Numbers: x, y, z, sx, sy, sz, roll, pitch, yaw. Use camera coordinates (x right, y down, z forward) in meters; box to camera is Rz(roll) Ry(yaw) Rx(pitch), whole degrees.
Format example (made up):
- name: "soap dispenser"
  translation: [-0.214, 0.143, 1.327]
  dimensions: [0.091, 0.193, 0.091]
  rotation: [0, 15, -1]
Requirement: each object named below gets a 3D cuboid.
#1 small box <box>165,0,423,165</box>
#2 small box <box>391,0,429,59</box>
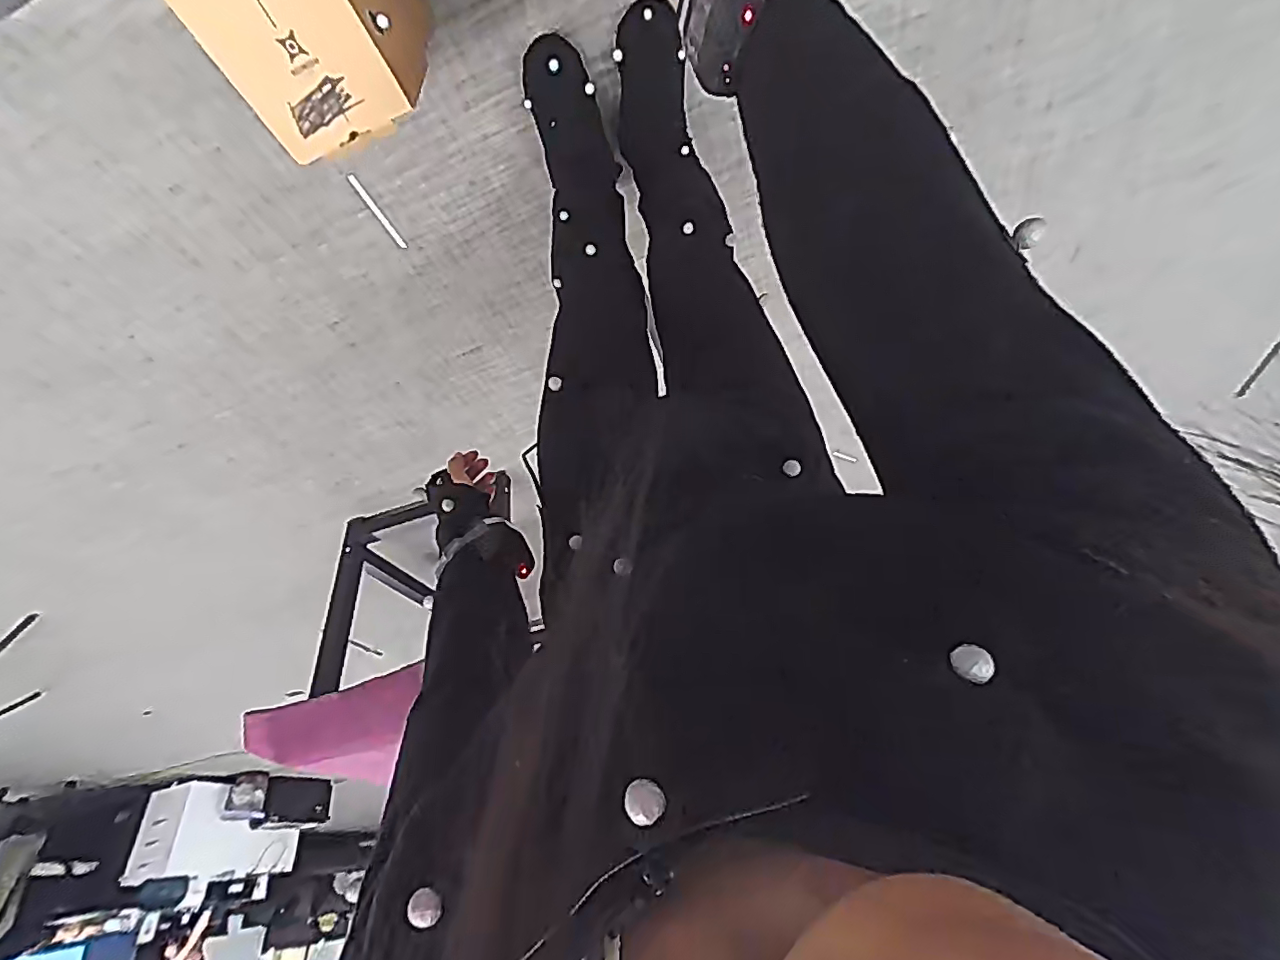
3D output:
- name: "small box"
  translation: [-0.375, -0.514, 0.626]
  dimensions: [0.168, 0.176, 0.179]
  rotation: [-18, 142, 10]
- name: "small box"
  translation: [-0.404, -0.643, 0.724]
  dimensions: [0.179, 0.176, 0.168]
  rotation: [-19, 142, 13]
